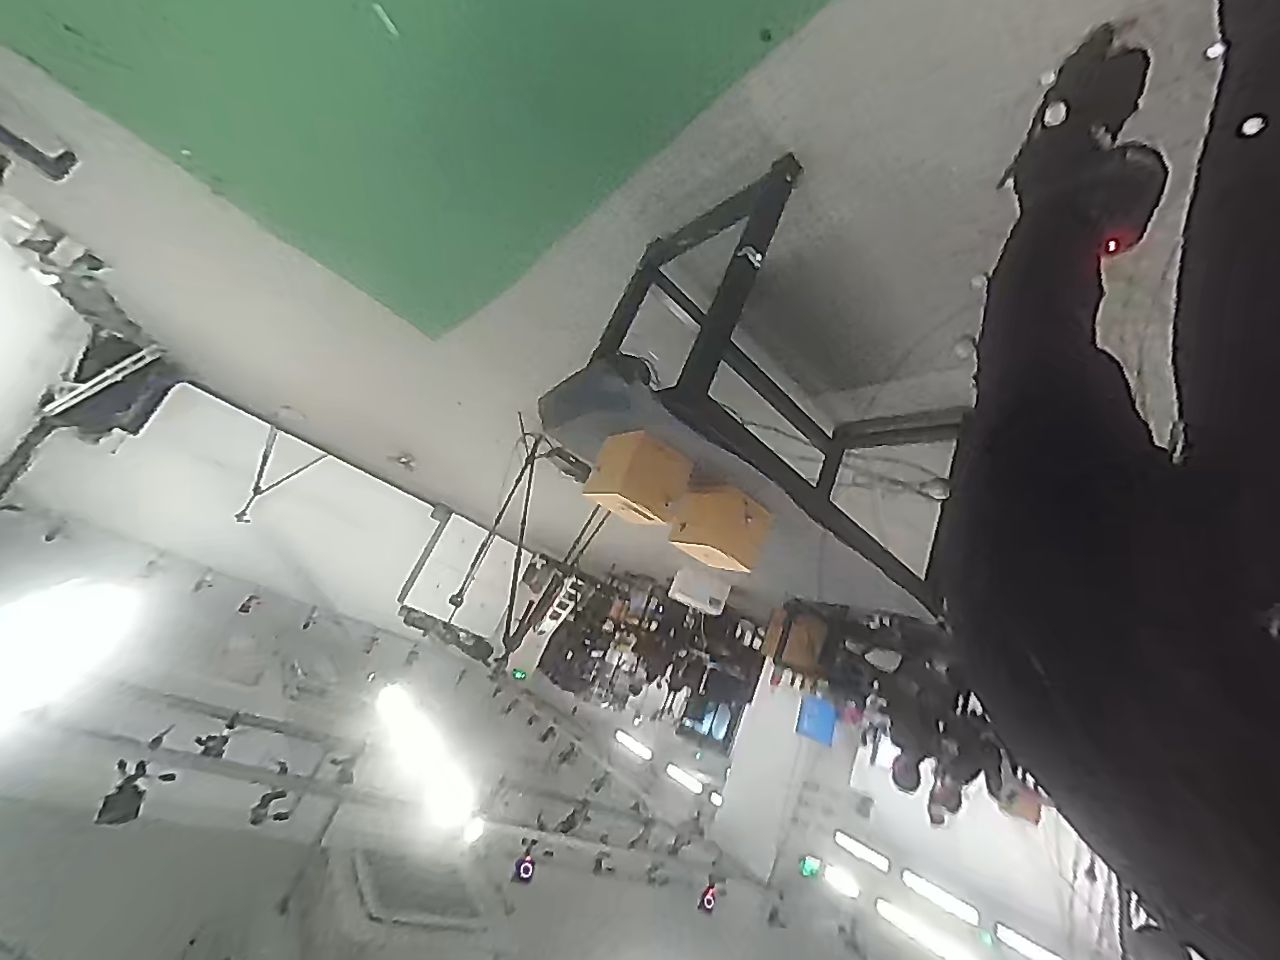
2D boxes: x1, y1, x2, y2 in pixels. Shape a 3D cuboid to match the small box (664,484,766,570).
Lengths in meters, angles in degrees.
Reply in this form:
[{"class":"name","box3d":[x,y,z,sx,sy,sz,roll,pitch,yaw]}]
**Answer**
[{"class":"small box","box3d":[0.201,0.119,1.421,0.168,0.176,0.179,33,160,-29]}]
